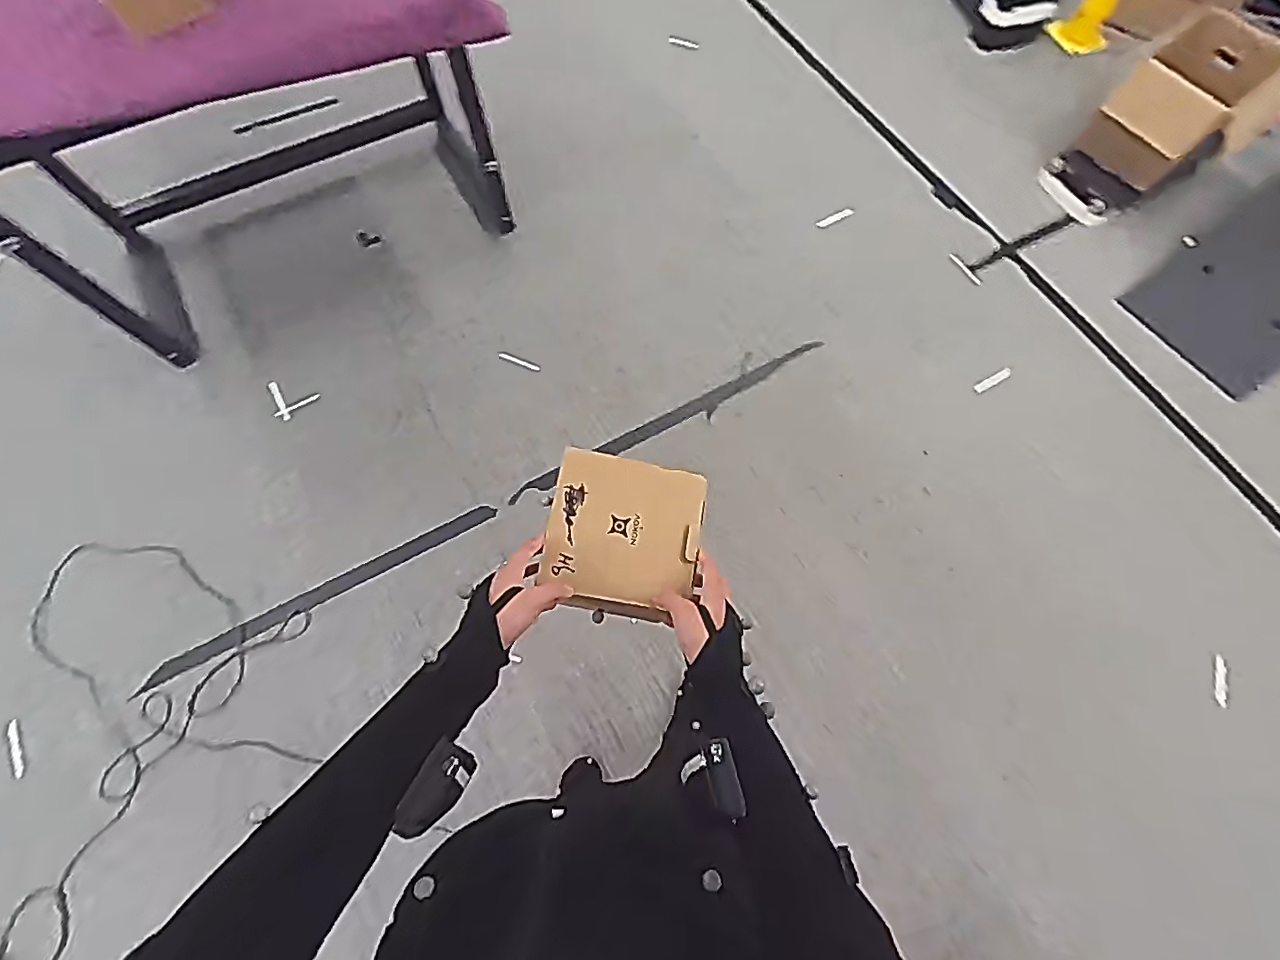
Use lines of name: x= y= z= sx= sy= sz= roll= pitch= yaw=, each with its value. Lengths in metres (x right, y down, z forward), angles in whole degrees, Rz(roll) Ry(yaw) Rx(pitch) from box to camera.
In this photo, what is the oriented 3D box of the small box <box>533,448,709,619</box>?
small box: x=-0.031 y=0.079 z=0.686 sx=0.179 sy=0.176 sz=0.168 roll=13 pitch=71 yaw=-9
